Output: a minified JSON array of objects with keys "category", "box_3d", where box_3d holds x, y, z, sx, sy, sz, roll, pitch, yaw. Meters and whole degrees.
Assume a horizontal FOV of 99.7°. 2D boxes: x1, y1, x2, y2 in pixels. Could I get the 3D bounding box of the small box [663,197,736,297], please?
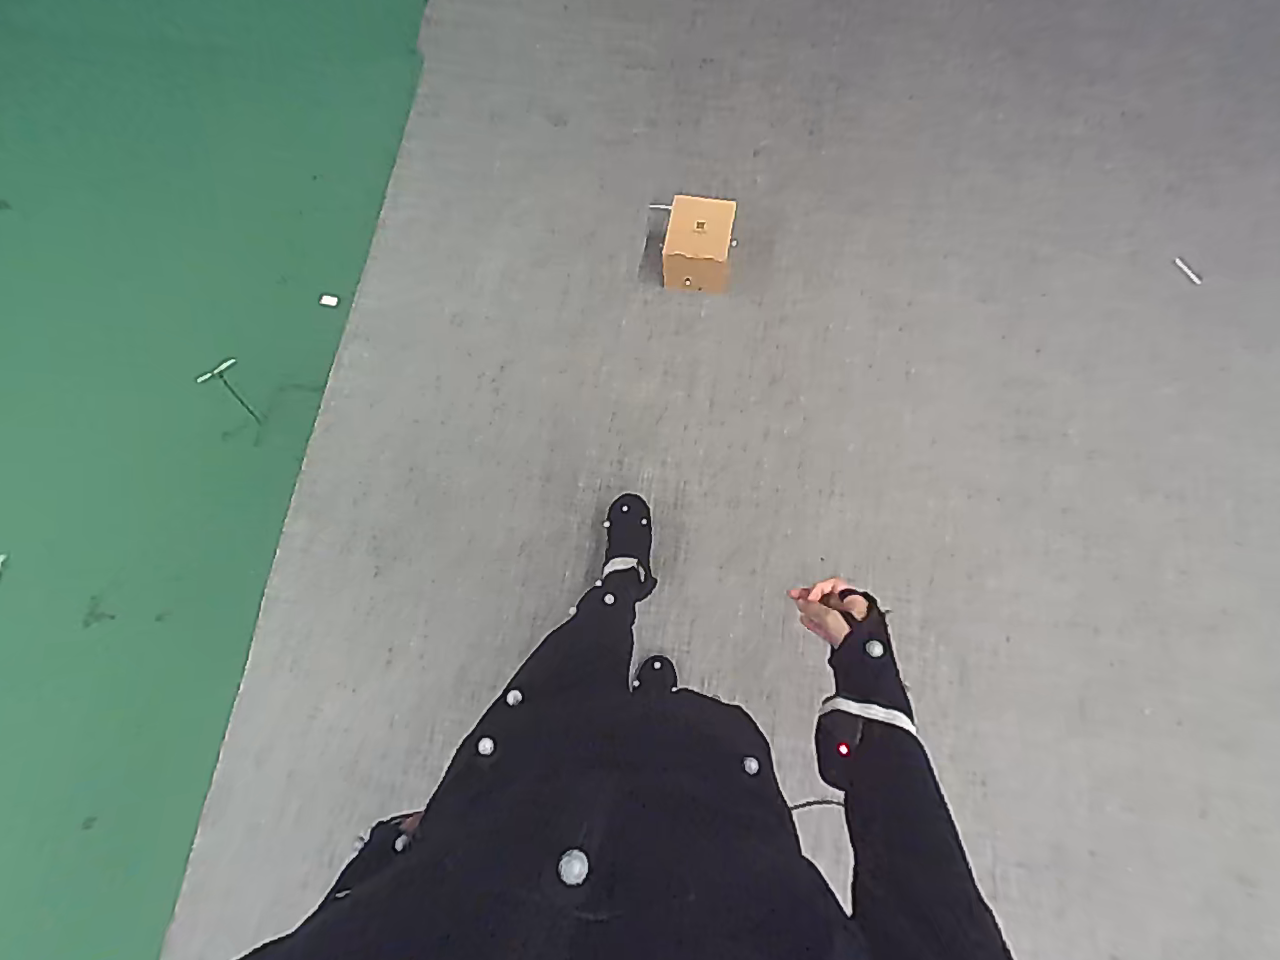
[{"category":"small box","box_3d":[0.158,-0.628,1.468,0.168,0.176,0.179,10,79,6]}]
